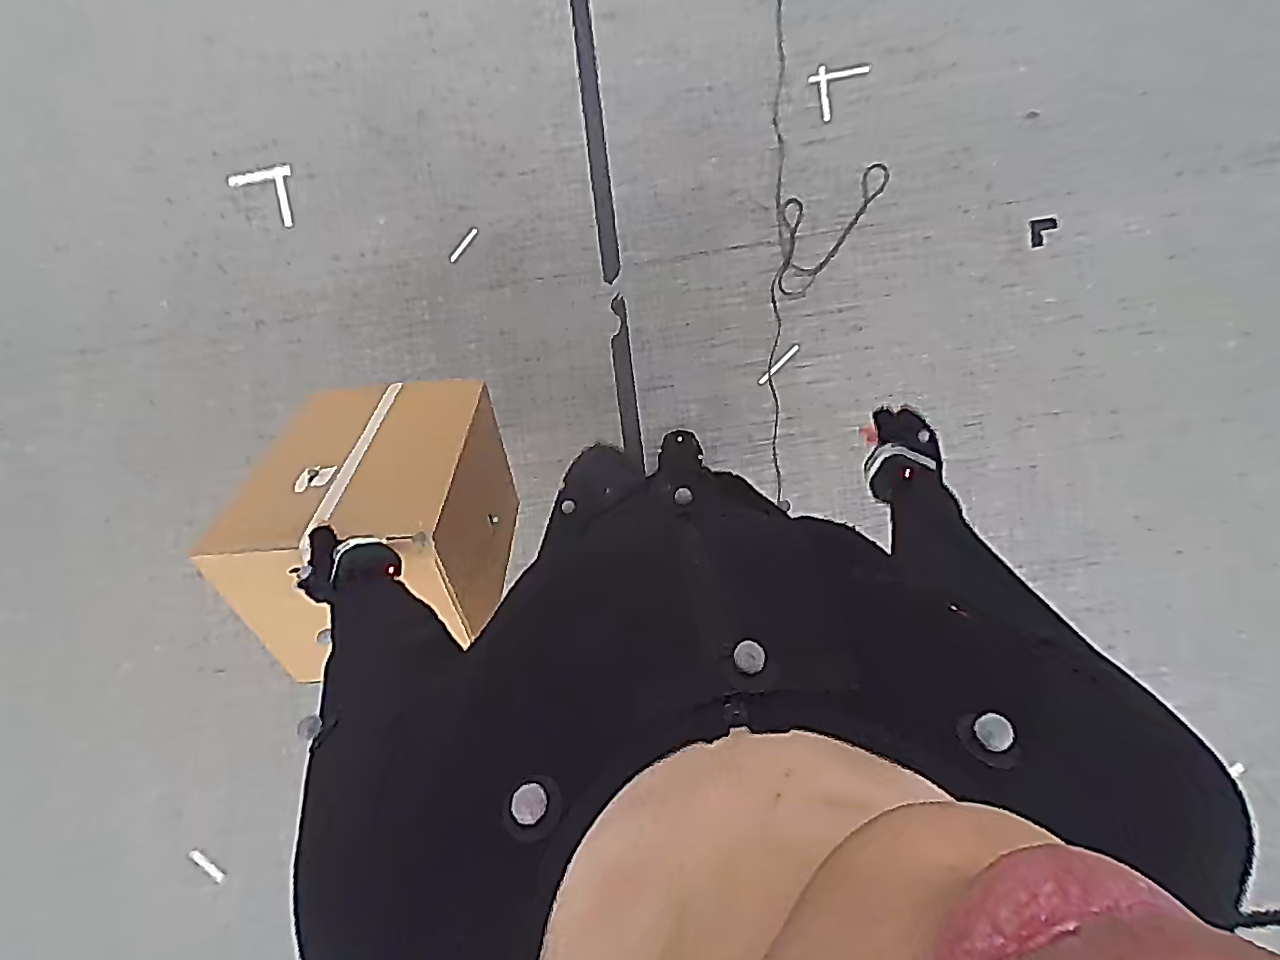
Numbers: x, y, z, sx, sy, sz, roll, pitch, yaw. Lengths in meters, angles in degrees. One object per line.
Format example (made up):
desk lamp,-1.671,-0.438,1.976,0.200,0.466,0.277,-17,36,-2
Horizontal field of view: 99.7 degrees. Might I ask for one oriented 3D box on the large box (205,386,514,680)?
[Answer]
large box,-0.419,0.078,0.944,0.320,0.408,0.320,-6,130,0
